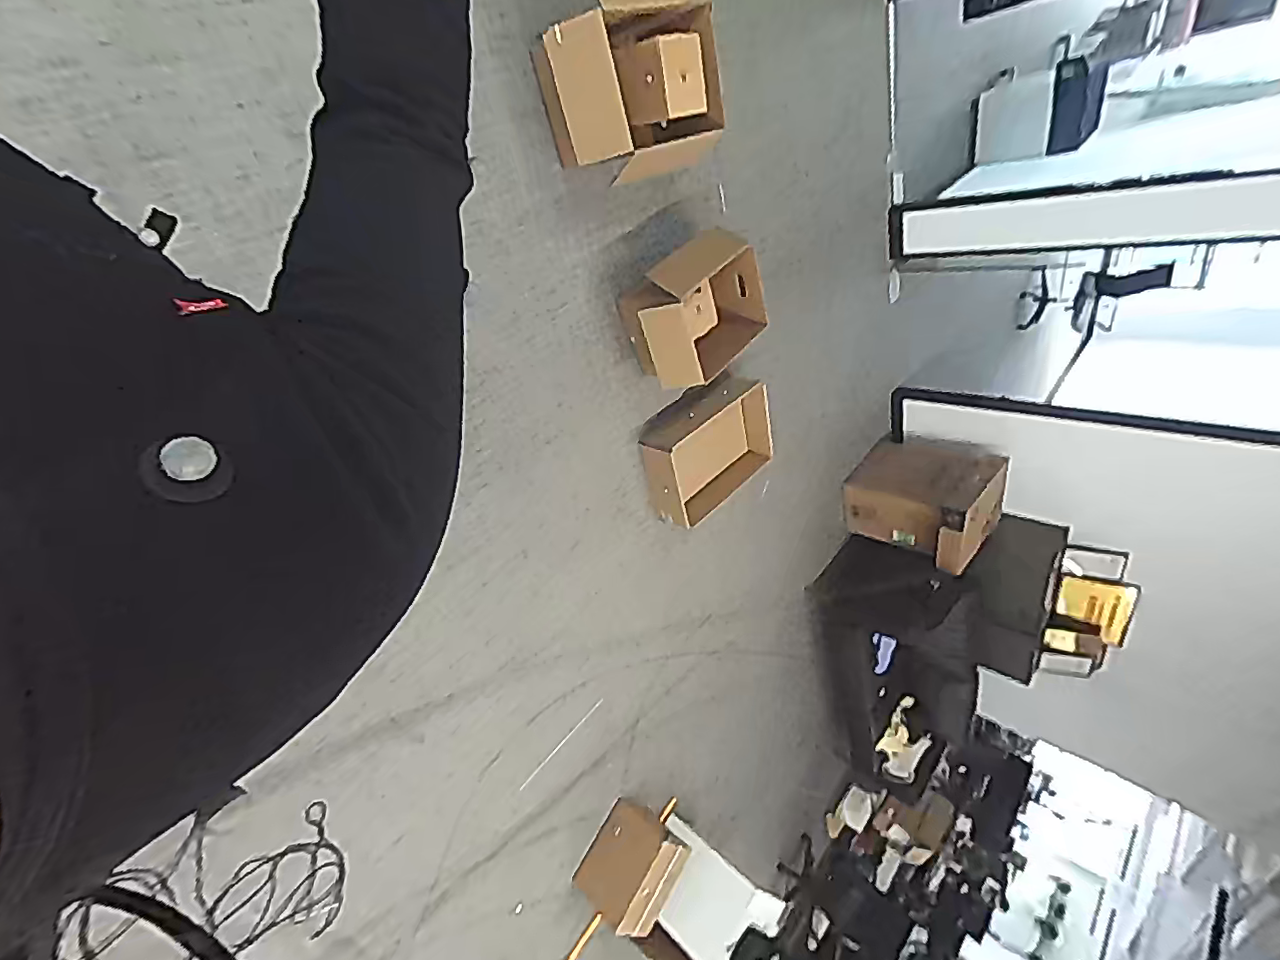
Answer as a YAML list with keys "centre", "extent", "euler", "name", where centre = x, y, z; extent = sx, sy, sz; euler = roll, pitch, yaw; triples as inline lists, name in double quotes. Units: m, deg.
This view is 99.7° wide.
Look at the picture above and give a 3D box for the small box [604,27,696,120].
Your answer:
- centre: [0.027, -1.101, 1.474]
  extent: [0.168, 0.176, 0.179]
  euler: [-37, 128, -33]
  name: "small box"
